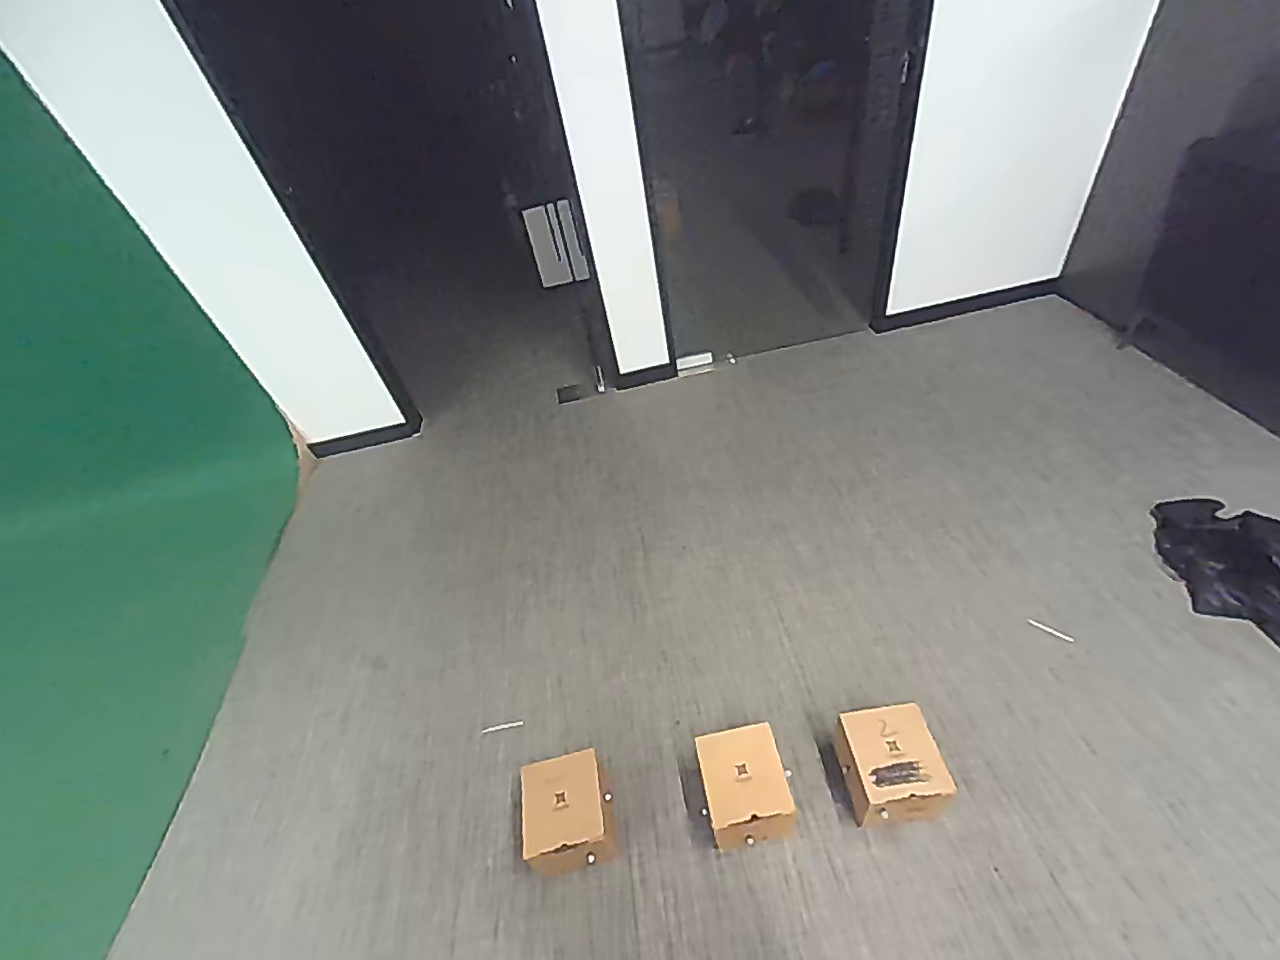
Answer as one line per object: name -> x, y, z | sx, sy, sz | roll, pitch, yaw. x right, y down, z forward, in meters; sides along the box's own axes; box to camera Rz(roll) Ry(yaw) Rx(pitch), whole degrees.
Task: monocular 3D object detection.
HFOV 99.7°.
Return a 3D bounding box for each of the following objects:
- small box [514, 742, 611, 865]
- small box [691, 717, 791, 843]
small box -> -0.164, 0.696, 1.155 | 0.168, 0.176, 0.179 | -13, 43, -2
small box -> 0.206, 0.632, 1.141 | 0.168, 0.176, 0.179 | -11, 44, 0
